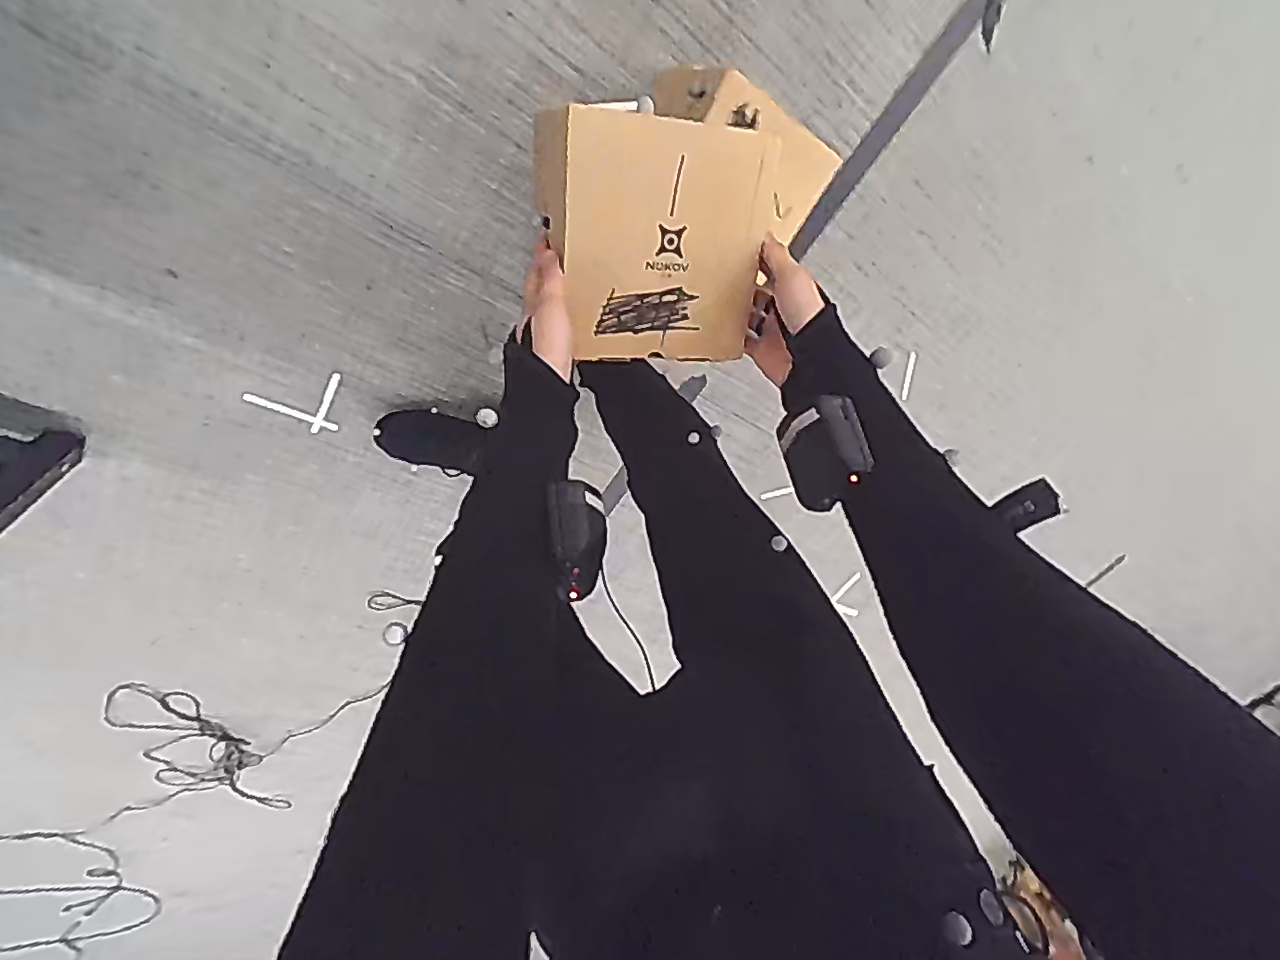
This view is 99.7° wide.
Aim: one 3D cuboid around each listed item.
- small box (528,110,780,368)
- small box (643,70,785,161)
[{"bbox_3d":[-0.005,-0.212,0.482,0.168,0.176,0.179,-5,122,-18],"label":"small box"},{"bbox_3d":[0.079,-0.479,0.823,0.168,0.176,0.179,23,116,-28],"label":"small box"}]
